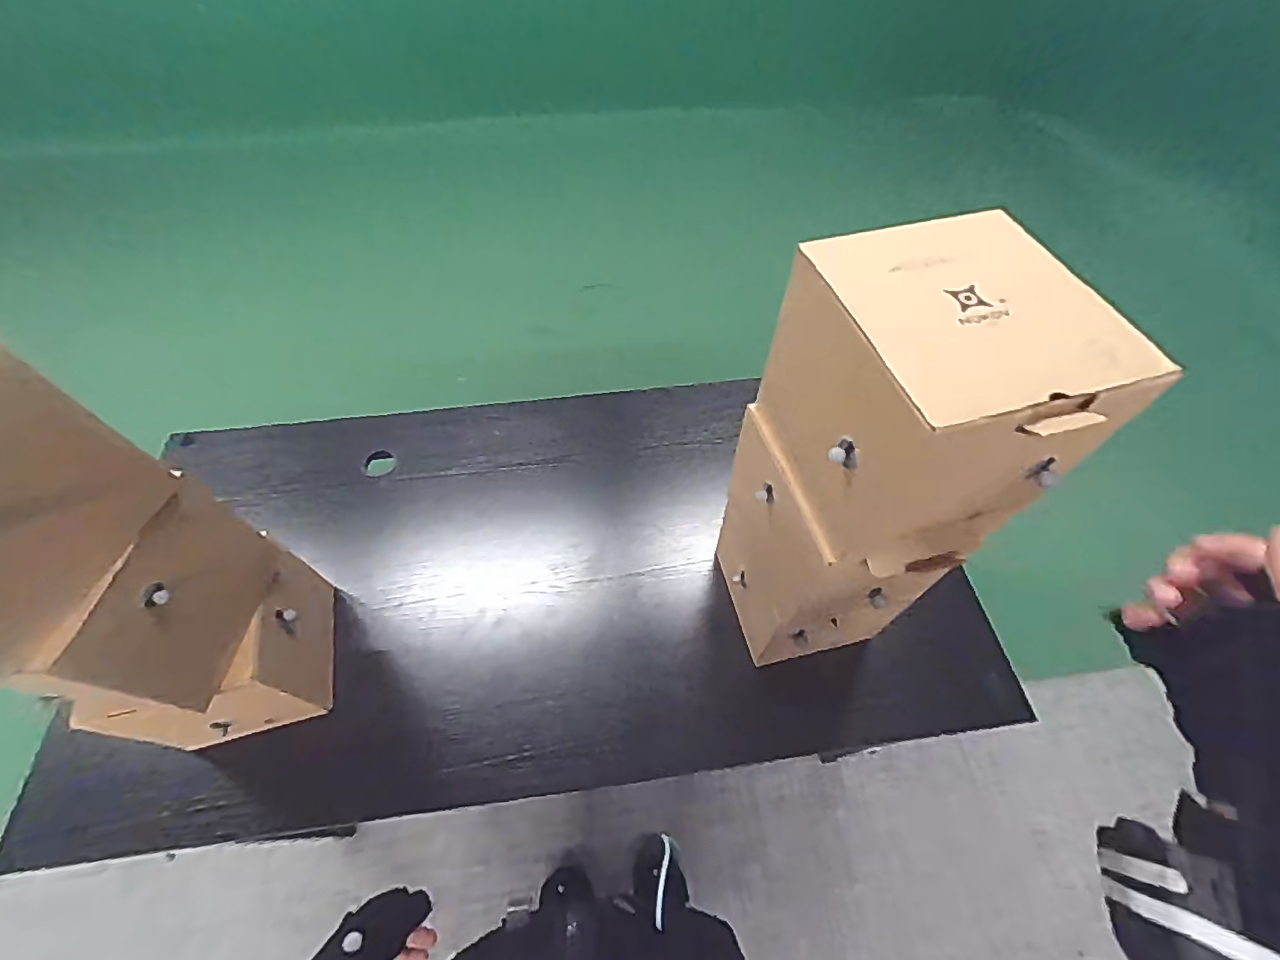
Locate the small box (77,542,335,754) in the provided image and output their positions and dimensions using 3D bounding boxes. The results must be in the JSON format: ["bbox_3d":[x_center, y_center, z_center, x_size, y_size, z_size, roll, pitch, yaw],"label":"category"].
[{"bbox_3d":[-0.483,0.202,0.638,0.168,0.176,0.179,-14,59,-9],"label":"small box"}]

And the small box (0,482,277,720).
[{"bbox_3d":[-0.486,0.113,0.500,0.168,0.176,0.179,5,57,2],"label":"small box"}]

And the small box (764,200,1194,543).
[{"bbox_3d":[0.209,-0.069,0.400,0.168,0.176,0.179,-13,57,-8],"label":"small box"}]

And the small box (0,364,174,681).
[{"bbox_3d":[-0.488,0.018,0.365,0.168,0.176,0.179,14,59,7],"label":"small box"}]

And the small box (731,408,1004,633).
[{"bbox_3d":[0.204,0.030,0.549,0.168,0.176,0.179,-14,58,-8],"label":"small box"}]
